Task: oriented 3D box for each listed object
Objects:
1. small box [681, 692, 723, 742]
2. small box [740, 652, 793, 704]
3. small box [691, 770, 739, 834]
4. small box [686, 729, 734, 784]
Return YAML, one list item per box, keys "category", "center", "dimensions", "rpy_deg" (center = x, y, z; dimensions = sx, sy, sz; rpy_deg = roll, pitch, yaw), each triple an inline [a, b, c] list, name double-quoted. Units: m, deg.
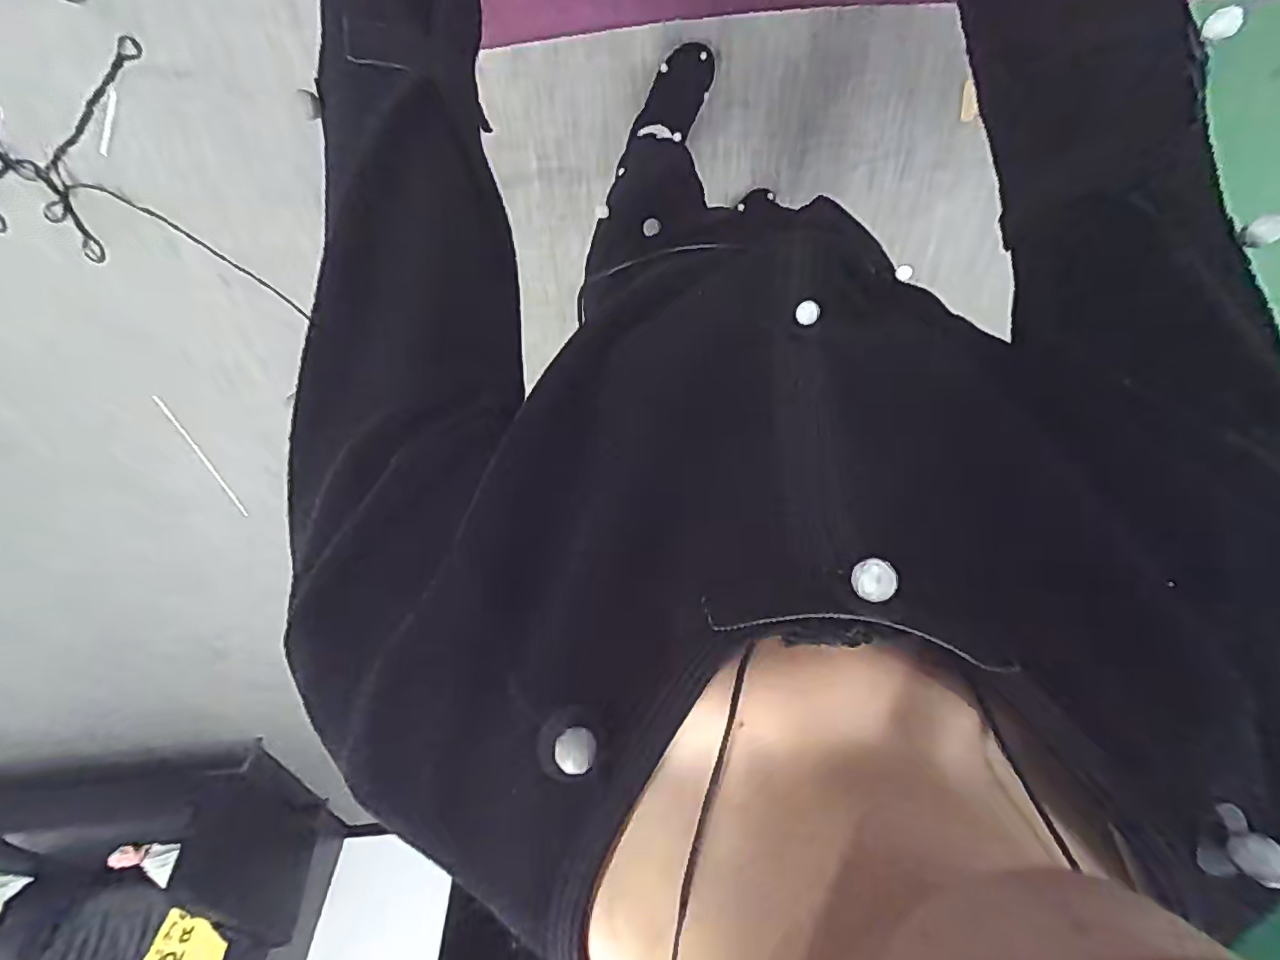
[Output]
- category: "small box"
  center: [0.270, 1.045, 2.367]
  dimensions: [0.168, 0.176, 0.179]
  rpy_deg: [-6, 129, 2]
- category: "small box"
  center: [0.574, 0.910, 2.488]
  dimensions: [0.179, 0.176, 0.168]
  rpy_deg: [4, 129, -8]
- category: "small box"
  center: [0.292, 1.260, 2.118]
  dimensions: [0.168, 0.176, 0.179]
  rpy_deg: [-7, 130, 2]
- category: "small box"
  center: [0.287, 1.154, 2.245]
  dimensions: [0.179, 0.176, 0.168]
  rpy_deg: [-5, 130, 2]
